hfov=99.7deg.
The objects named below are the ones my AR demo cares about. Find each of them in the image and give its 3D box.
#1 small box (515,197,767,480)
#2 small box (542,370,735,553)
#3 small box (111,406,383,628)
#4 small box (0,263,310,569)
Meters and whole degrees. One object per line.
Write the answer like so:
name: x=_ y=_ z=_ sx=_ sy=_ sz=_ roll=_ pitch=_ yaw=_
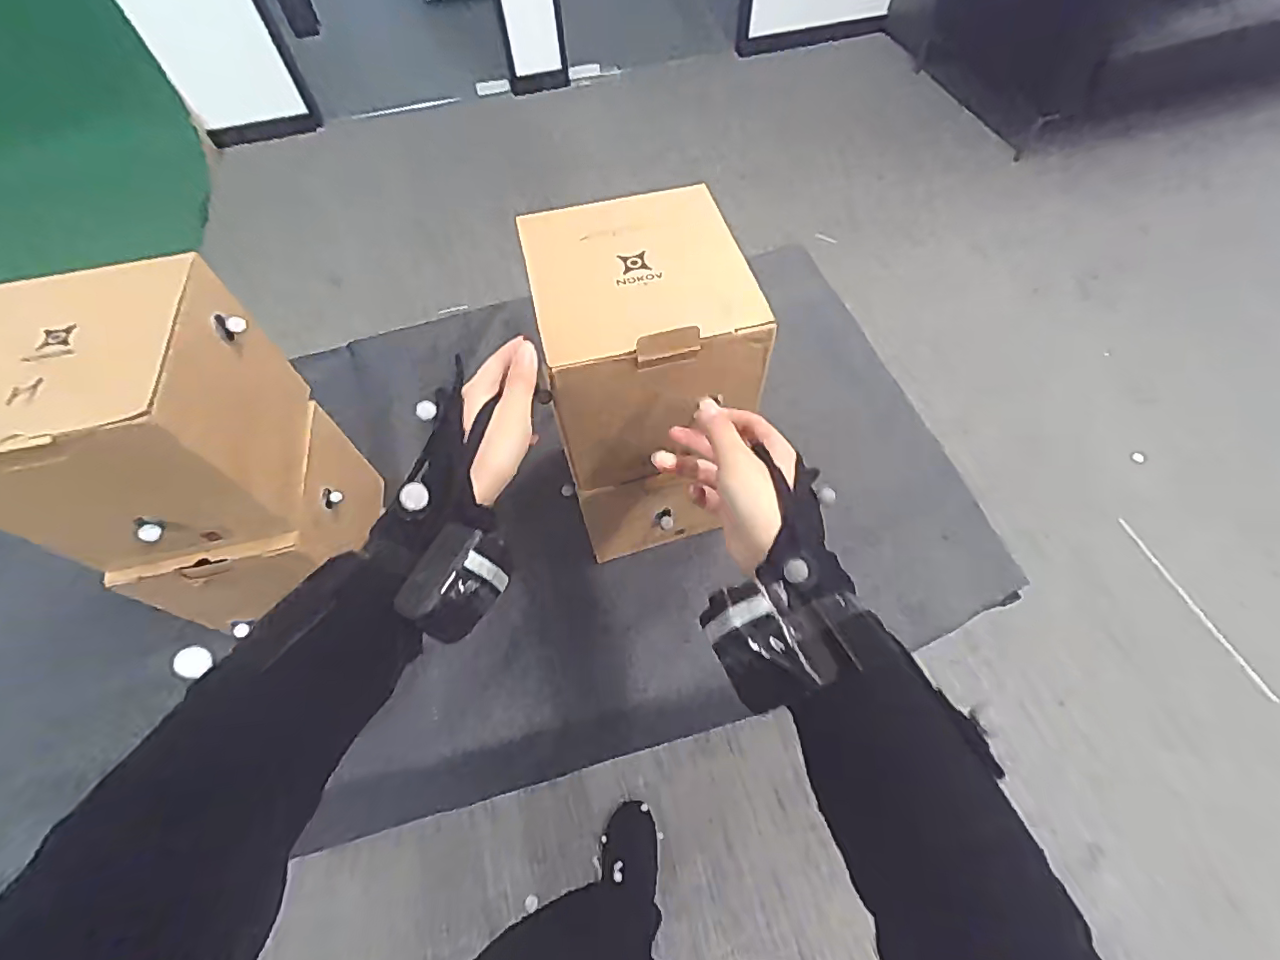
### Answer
small box: x=-0.004 y=-0.116 z=0.488 sx=0.168 sy=0.176 sz=0.179 roll=-13 pitch=58 yaw=-7
small box: x=-0.003 y=-0.031 z=0.627 sx=0.168 sy=0.176 sz=0.179 roll=-16 pitch=60 yaw=-8
small box: x=-0.399 y=0.049 z=0.592 sx=0.168 sy=0.176 sz=0.179 roll=-11 pitch=58 yaw=-5
small box: x=-0.411 y=-0.049 z=0.459 sx=0.168 sy=0.176 sz=0.179 roll=-13 pitch=58 yaw=-5
